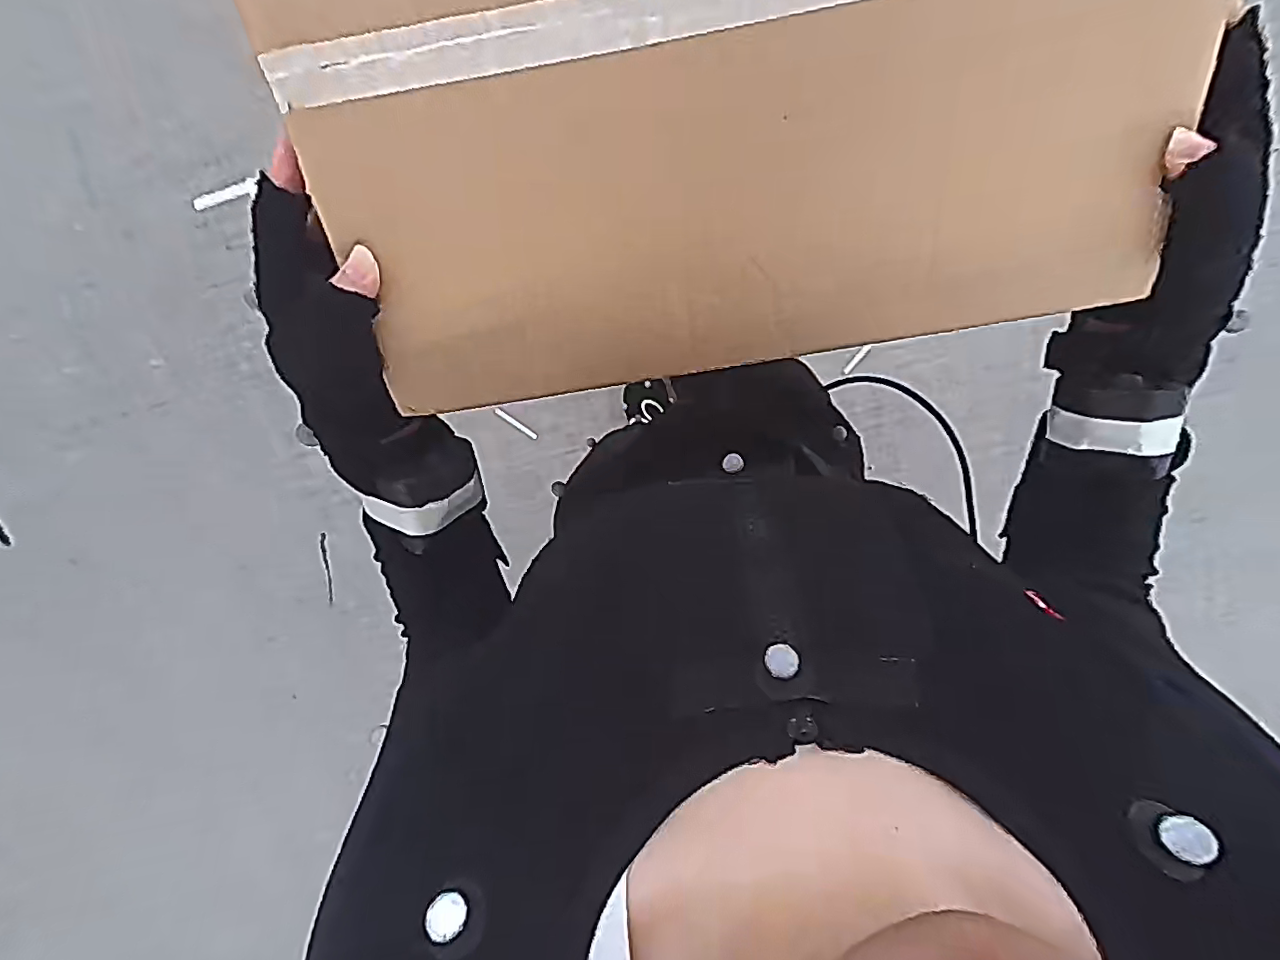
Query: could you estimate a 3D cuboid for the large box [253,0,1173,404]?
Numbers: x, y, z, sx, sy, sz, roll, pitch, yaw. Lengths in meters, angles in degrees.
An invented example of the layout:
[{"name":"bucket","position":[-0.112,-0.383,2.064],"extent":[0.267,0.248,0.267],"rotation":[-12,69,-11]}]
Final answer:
[{"name":"large box","position":[0.033,-0.278,0.365],"extent":[0.408,0.320,0.320],"rotation":[-9,117,3]}]
